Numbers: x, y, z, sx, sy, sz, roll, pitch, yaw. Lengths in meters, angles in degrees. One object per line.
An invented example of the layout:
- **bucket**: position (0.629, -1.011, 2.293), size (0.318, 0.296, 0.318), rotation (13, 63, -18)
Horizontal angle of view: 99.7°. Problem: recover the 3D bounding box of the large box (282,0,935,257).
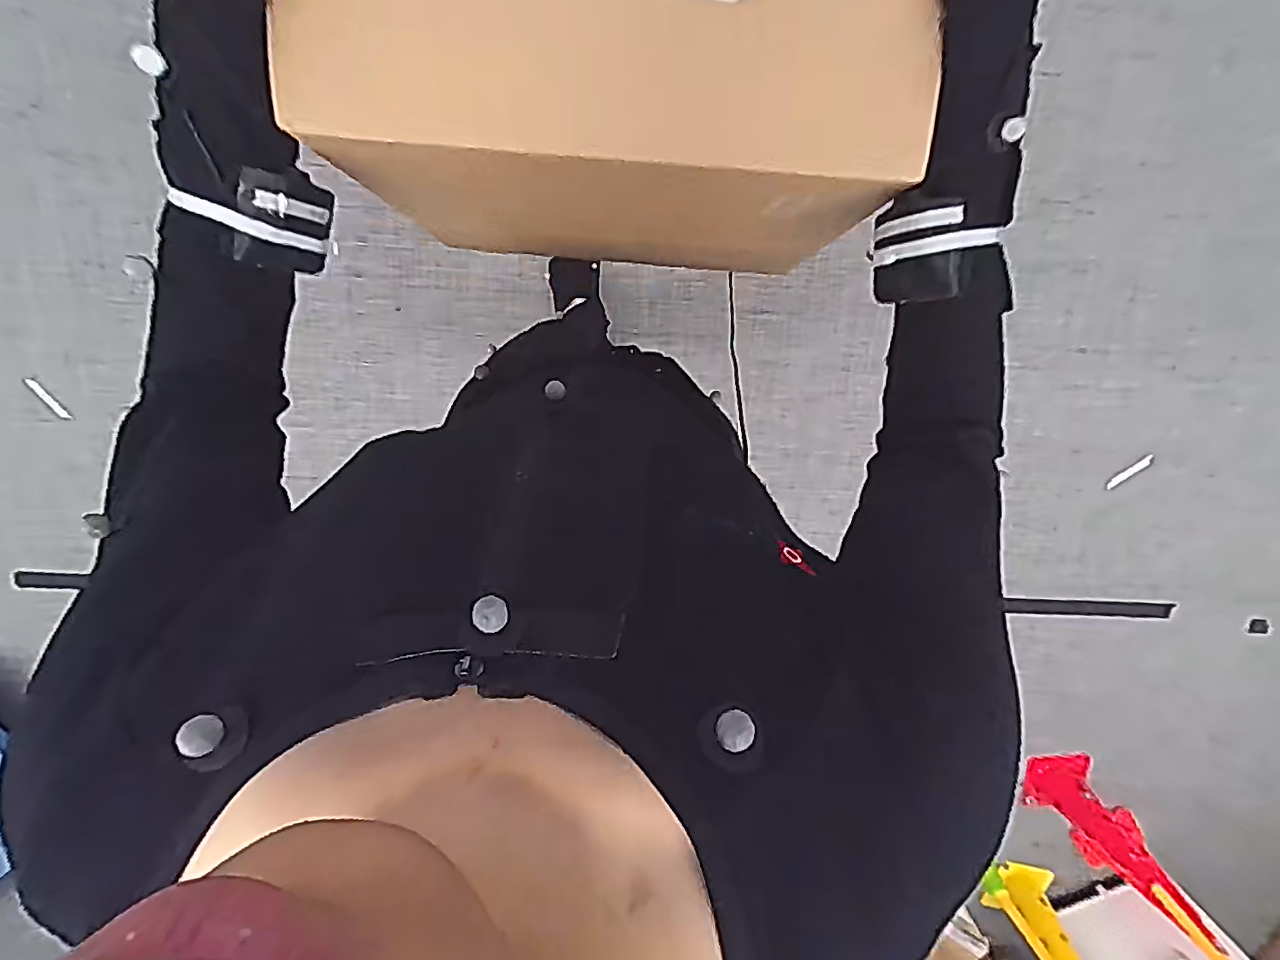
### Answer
- **large box**: position (-0.016, -0.395, 0.462), size (0.408, 0.320, 0.320), rotation (3, 100, -2)
